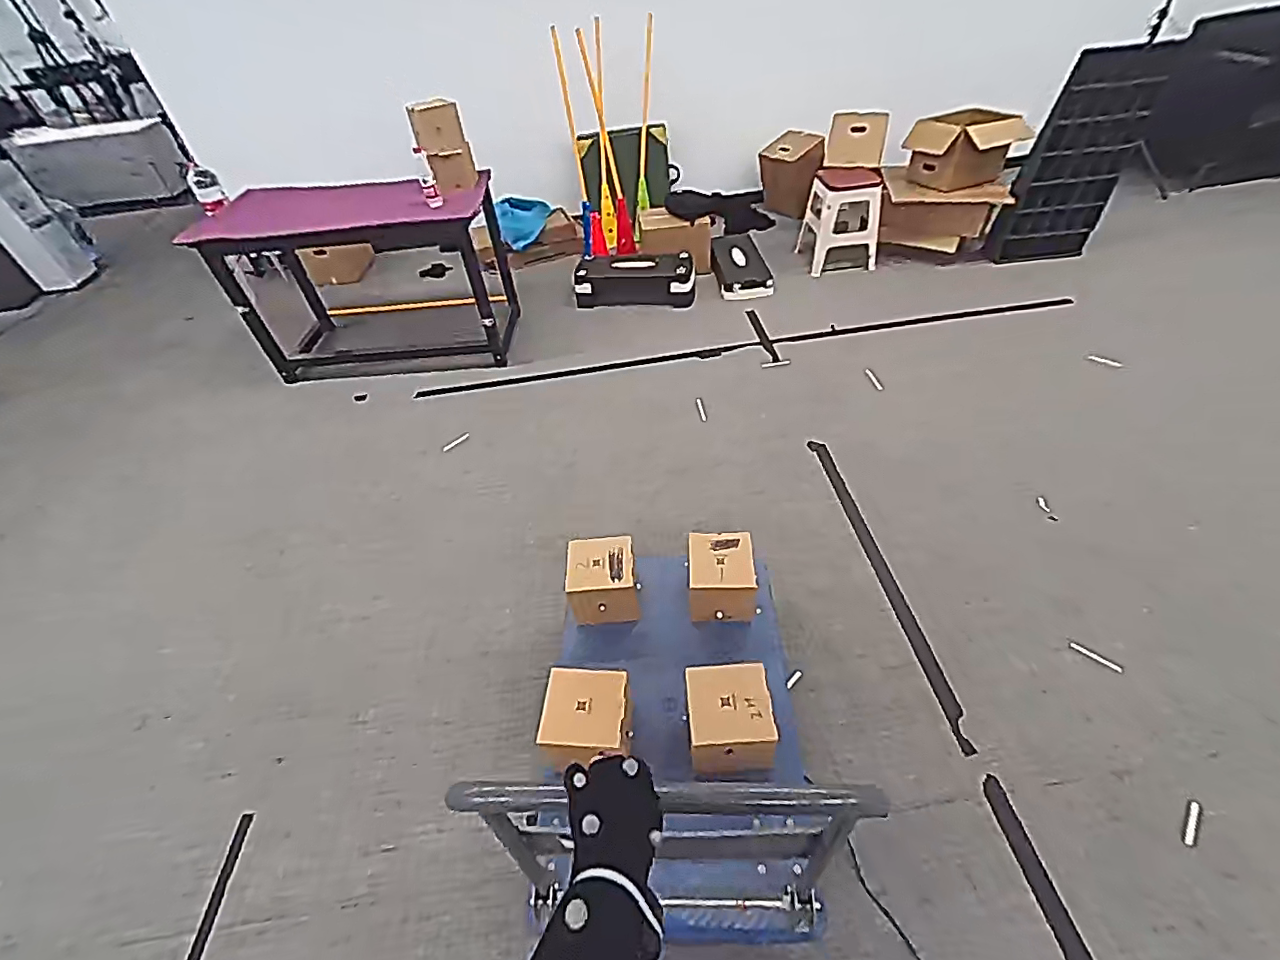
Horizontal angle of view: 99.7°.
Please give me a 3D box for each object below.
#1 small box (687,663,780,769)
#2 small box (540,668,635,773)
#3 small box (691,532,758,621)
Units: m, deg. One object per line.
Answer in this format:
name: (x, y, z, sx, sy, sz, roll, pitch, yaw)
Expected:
small box: (0.199, 0.523, 1.193, 0.179, 0.176, 0.168, -5, 45, 2)
small box: (-0.110, 0.540, 1.212, 0.179, 0.176, 0.168, 1, 45, 5)
small box: (0.220, 0.259, 1.452, 0.168, 0.176, 0.179, -1, 47, 6)
